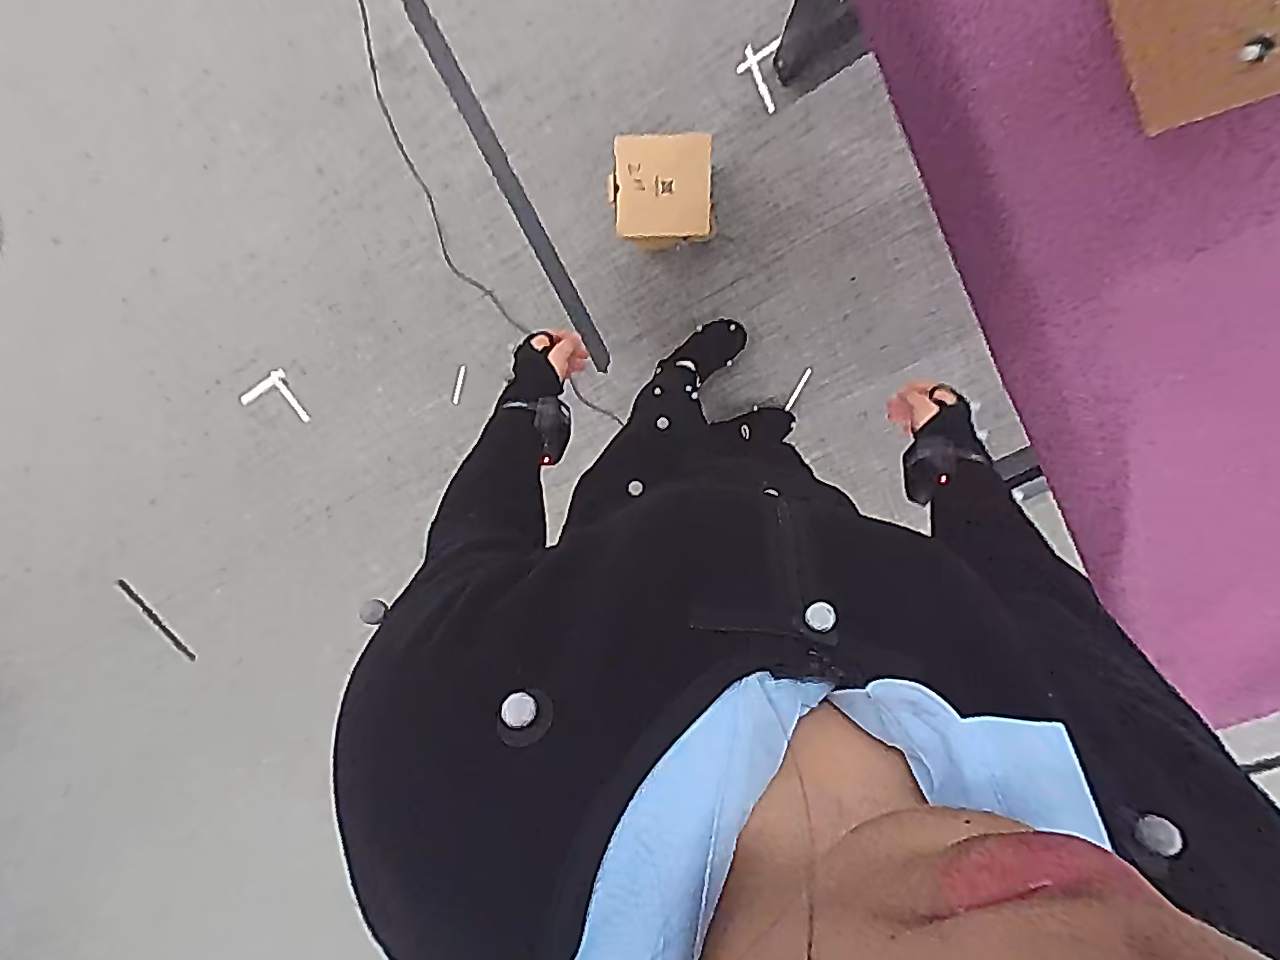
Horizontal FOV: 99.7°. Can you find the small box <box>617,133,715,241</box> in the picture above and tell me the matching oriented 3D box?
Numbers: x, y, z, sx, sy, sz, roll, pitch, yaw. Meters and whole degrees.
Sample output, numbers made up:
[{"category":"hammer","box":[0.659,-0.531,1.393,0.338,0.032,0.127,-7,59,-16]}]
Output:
[{"category":"small box","box":[0.053,-0.560,1.049,0.179,0.176,0.168,2,111,6]}]

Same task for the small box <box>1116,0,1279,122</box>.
[{"category":"small box","box":[0.543,-0.440,0.440,0.168,0.176,0.179,-29,106,15]}]
